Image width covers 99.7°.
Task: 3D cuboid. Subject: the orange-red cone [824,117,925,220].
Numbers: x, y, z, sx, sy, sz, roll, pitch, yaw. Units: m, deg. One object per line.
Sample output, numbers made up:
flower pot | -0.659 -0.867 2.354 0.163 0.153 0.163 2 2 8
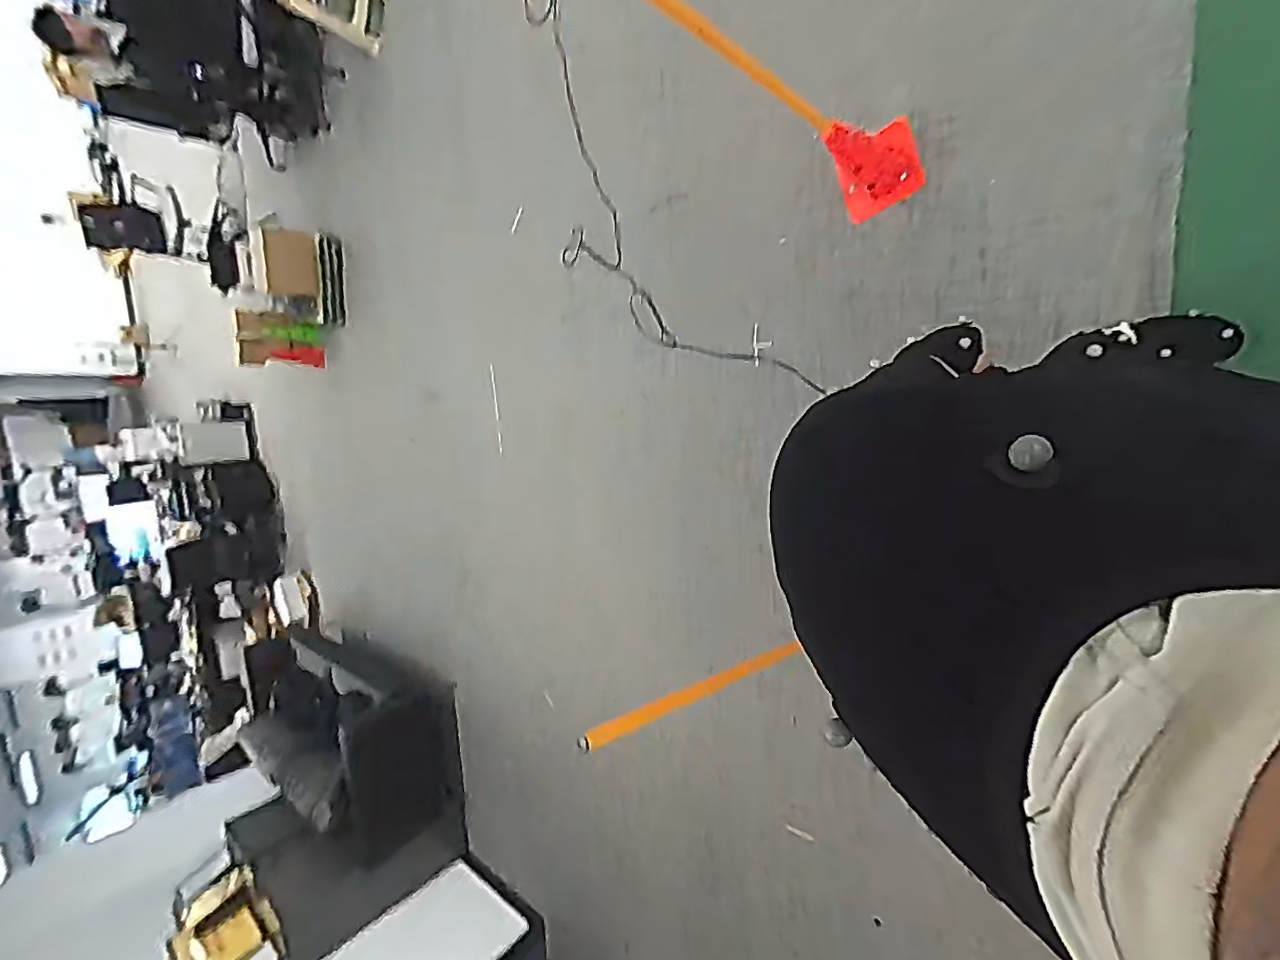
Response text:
orange-red cone | 0.545 -0.823 1.350 0.198 0.360 0.199 -16 86 42
